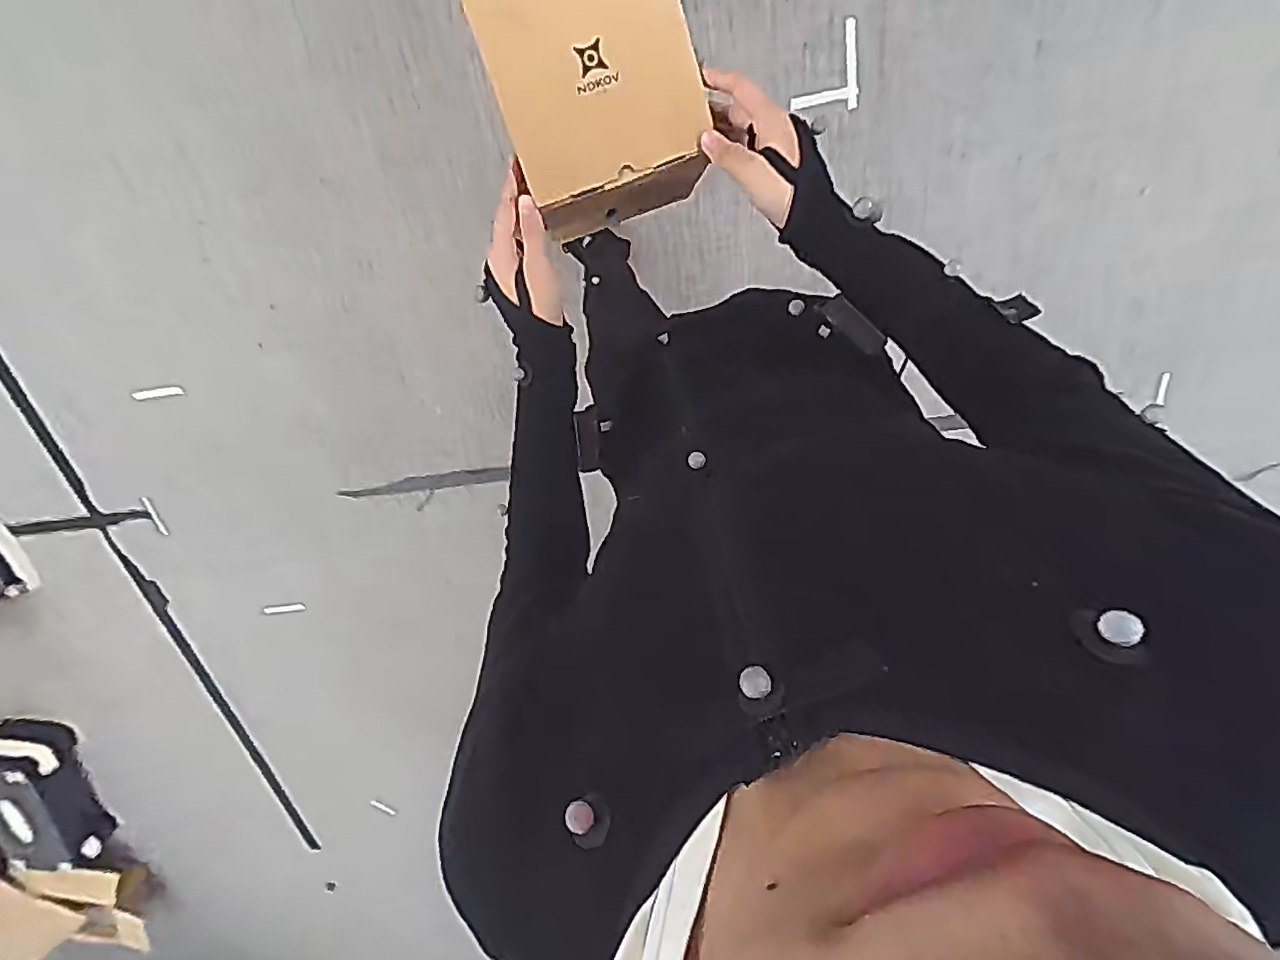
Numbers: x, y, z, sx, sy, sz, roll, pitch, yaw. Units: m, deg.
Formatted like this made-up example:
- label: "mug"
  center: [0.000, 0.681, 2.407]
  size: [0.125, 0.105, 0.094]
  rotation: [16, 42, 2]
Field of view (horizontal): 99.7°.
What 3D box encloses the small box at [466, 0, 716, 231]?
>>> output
- label: "small box"
  center: [-0.047, -0.358, 0.502]
  size: [0.168, 0.176, 0.179]
  rotation: [-19, 106, 0]
